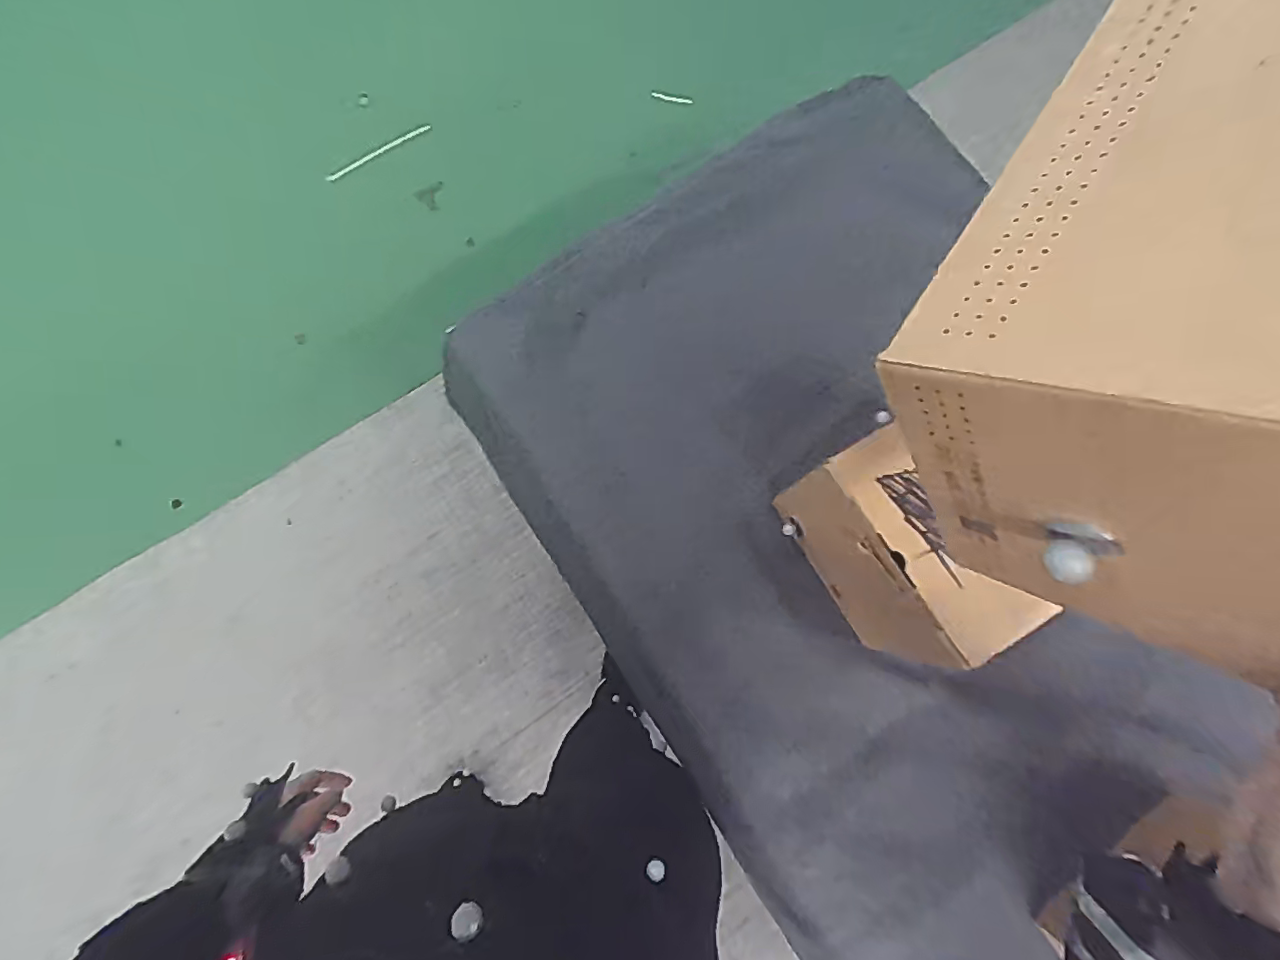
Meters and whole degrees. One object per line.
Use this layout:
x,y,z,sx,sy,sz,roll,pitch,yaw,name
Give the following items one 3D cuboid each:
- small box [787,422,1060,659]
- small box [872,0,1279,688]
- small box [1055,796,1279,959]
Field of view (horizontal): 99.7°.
0.245,0.029,0.459,0.179,0.176,0.168,-29,79,-7,small box
0.210,-0.046,0.183,0.176,0.168,0.179,26,79,46,small box
0.450,0.372,0.383,0.179,0.176,0.168,-35,80,-6,small box
